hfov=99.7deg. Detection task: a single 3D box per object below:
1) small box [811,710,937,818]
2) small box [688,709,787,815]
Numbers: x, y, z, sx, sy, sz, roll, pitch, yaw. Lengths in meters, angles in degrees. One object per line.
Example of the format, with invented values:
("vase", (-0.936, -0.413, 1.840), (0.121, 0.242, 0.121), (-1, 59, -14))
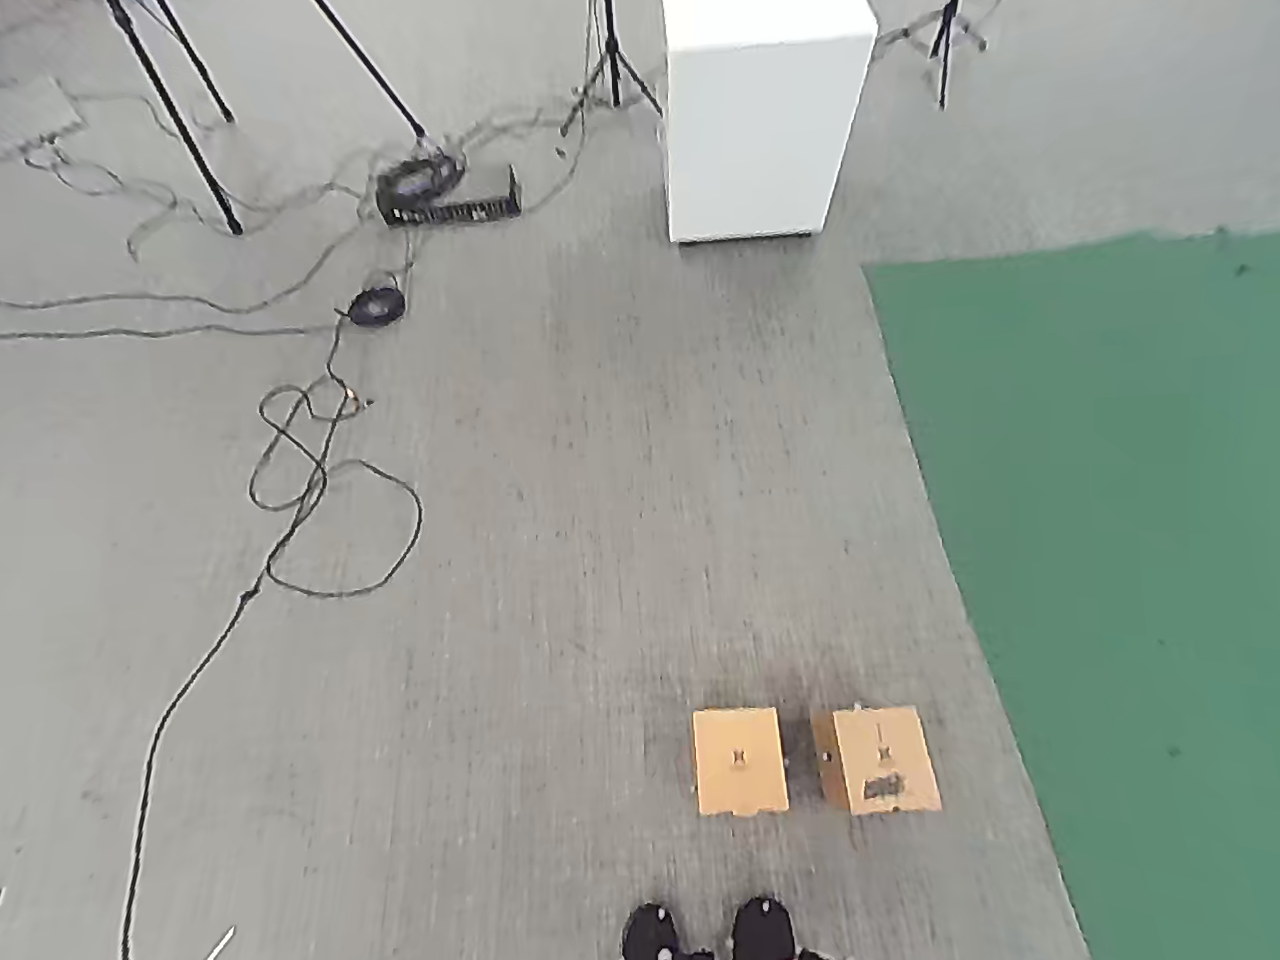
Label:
("small box", (0.455, 0.563, 1.082), (0.168, 0.176, 0.179), (-3, 63, 1))
("small box", (0.187, 0.567, 1.093), (0.168, 0.176, 0.179), (-3, 64, 1))
